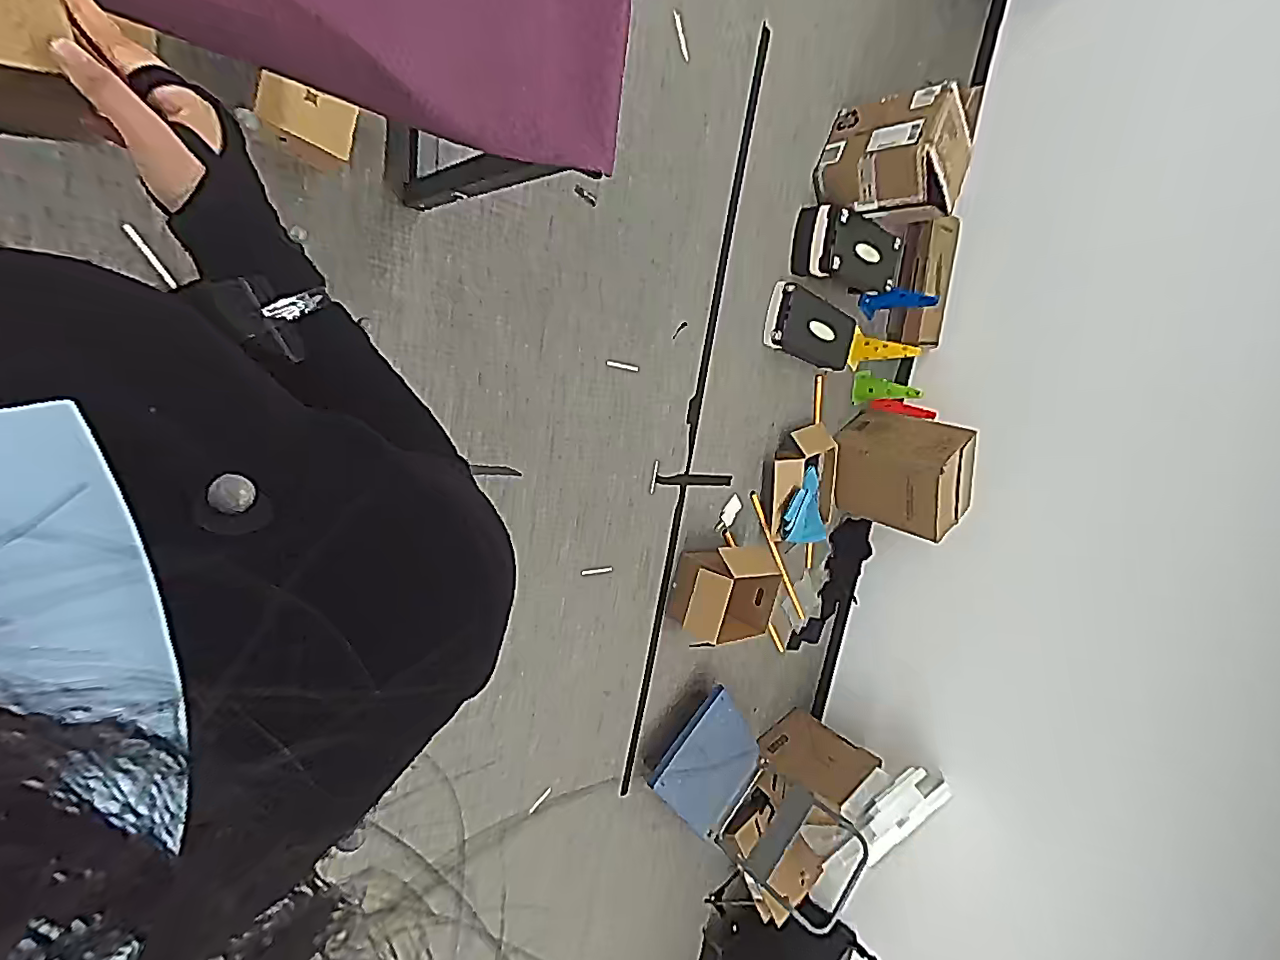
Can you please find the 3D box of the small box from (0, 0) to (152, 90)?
[{"bbox_3d":[-0.919,-0.789,0.890,0.168,0.176,0.179,1,103,-45],"label":"small box"}]

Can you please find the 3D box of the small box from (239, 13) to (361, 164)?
[{"bbox_3d":[-0.701,-0.783,1.109,0.168,0.176,0.179,11,96,-45],"label":"small box"}]
